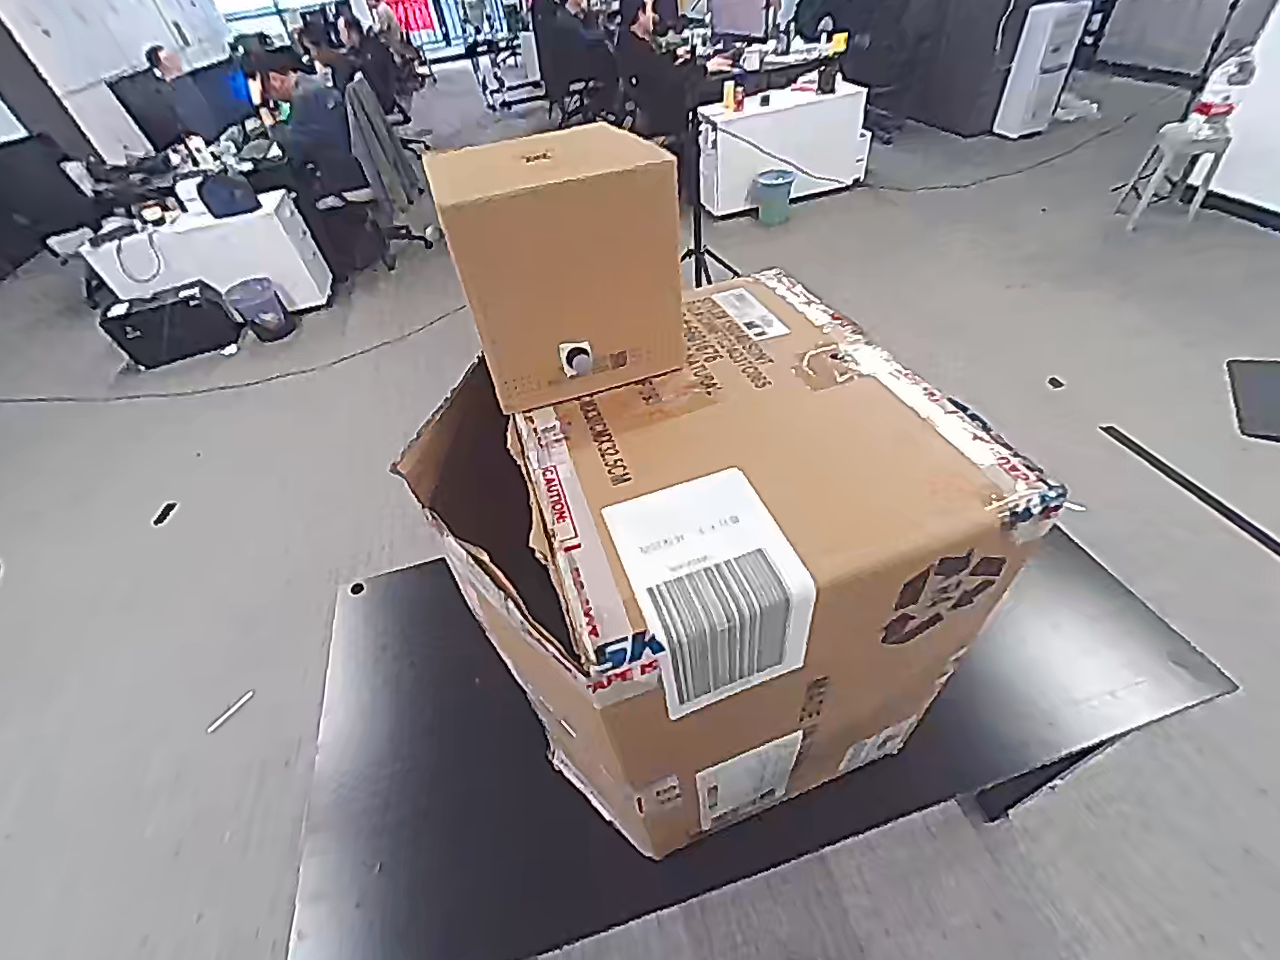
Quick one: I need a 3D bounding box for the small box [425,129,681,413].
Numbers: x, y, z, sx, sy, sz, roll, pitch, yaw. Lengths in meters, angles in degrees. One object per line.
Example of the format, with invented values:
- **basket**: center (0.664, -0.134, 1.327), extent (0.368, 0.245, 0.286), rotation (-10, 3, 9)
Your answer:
- **small box**: center (-0.073, -0.185, 0.473), extent (0.168, 0.176, 0.179), rotation (-19, 44, -11)
